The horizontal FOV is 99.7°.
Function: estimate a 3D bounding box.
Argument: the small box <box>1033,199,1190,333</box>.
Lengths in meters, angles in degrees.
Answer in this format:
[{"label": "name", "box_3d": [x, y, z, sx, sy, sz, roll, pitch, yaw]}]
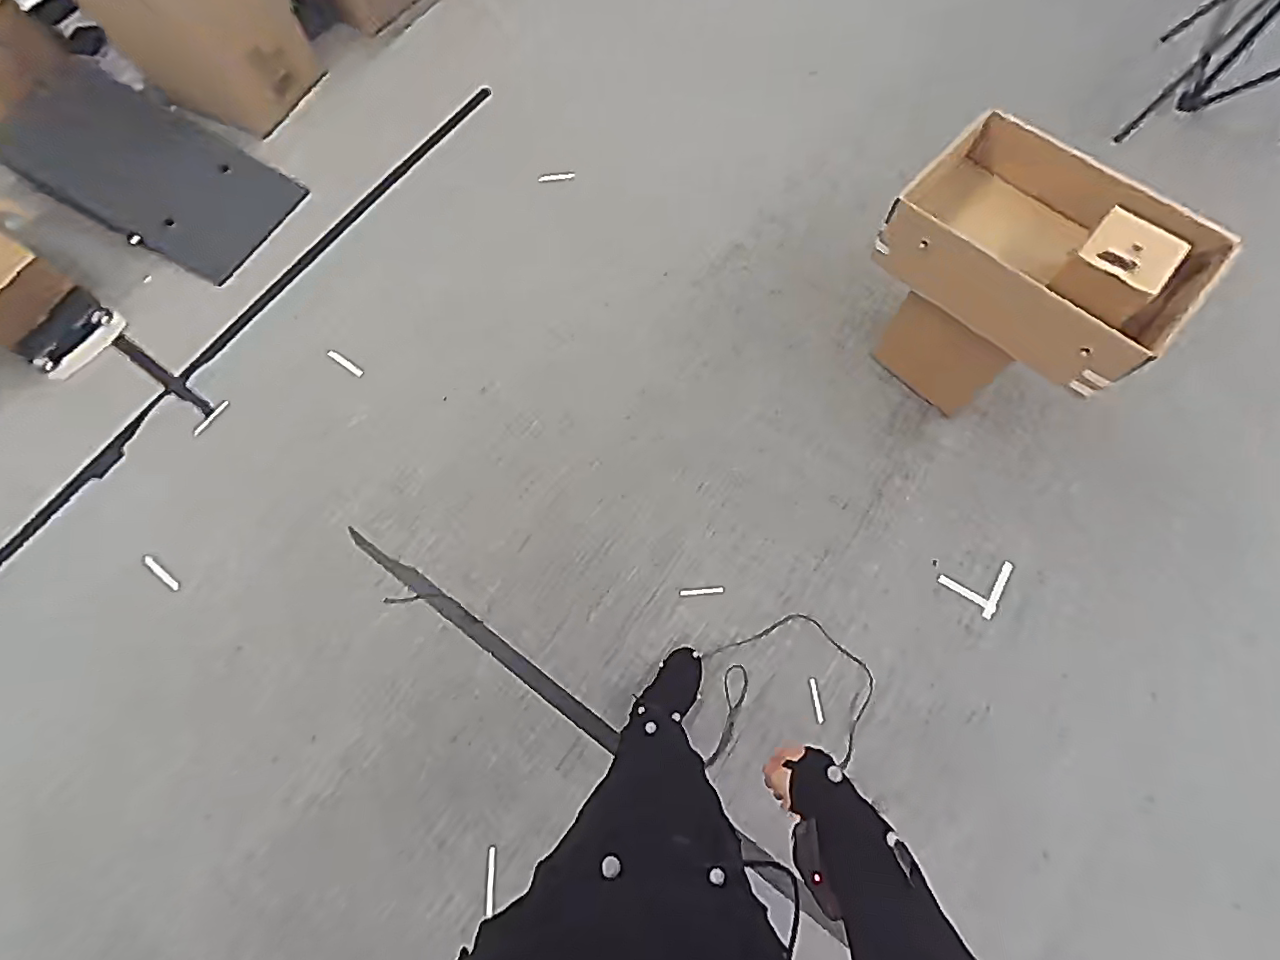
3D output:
[{"label": "small box", "box_3d": [1.007, -0.456, 1.175, 0.168, 0.176, 0.179, 39, 76, 14]}]
